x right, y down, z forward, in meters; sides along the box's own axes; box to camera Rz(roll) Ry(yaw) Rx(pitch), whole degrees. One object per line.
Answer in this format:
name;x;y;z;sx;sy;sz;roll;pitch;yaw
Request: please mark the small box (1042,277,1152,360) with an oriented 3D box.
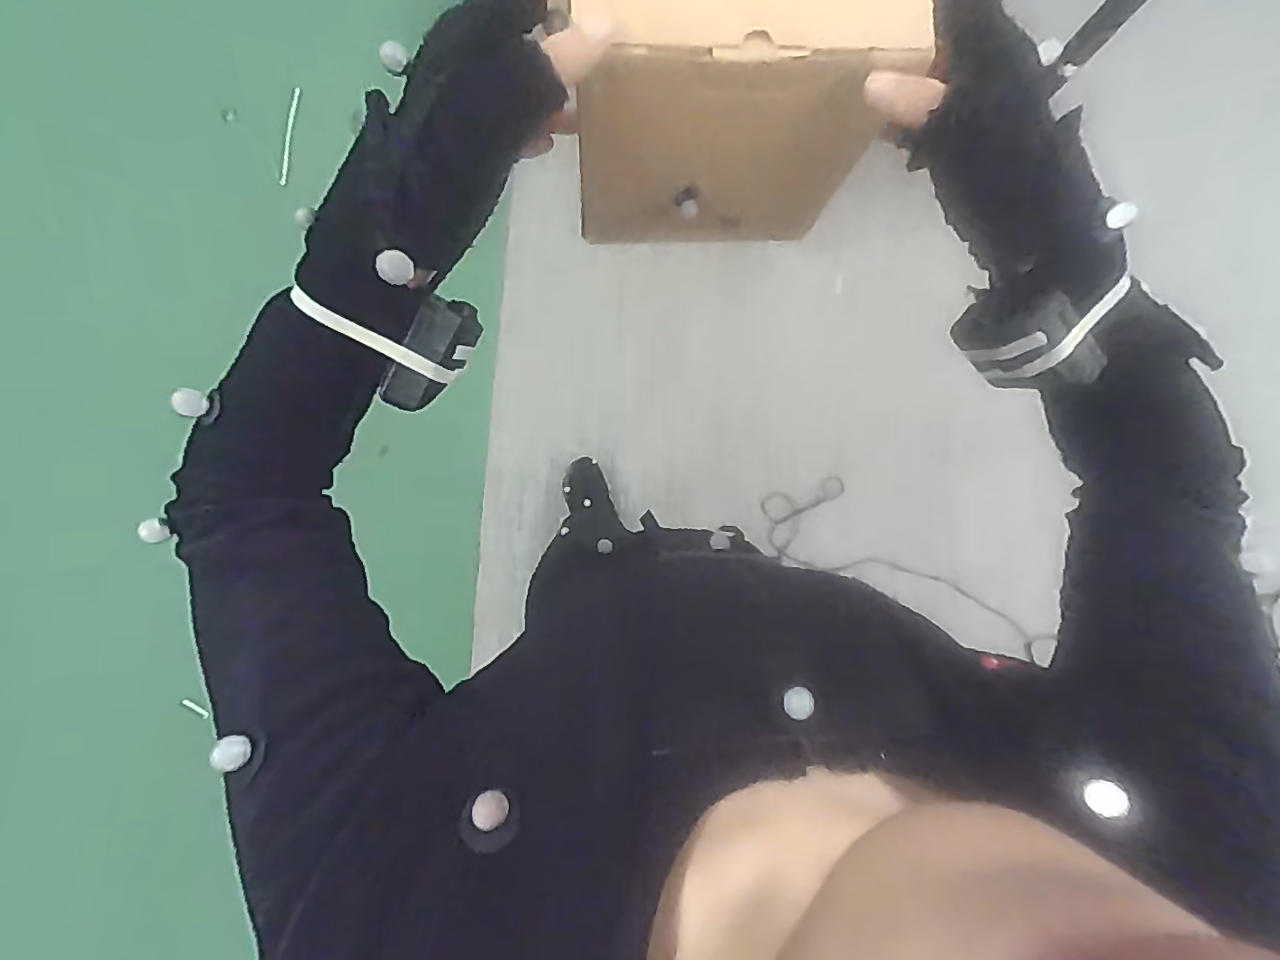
small box;1.311;-0.457;1.557;0.179;0.176;0.168;8;82;-1
